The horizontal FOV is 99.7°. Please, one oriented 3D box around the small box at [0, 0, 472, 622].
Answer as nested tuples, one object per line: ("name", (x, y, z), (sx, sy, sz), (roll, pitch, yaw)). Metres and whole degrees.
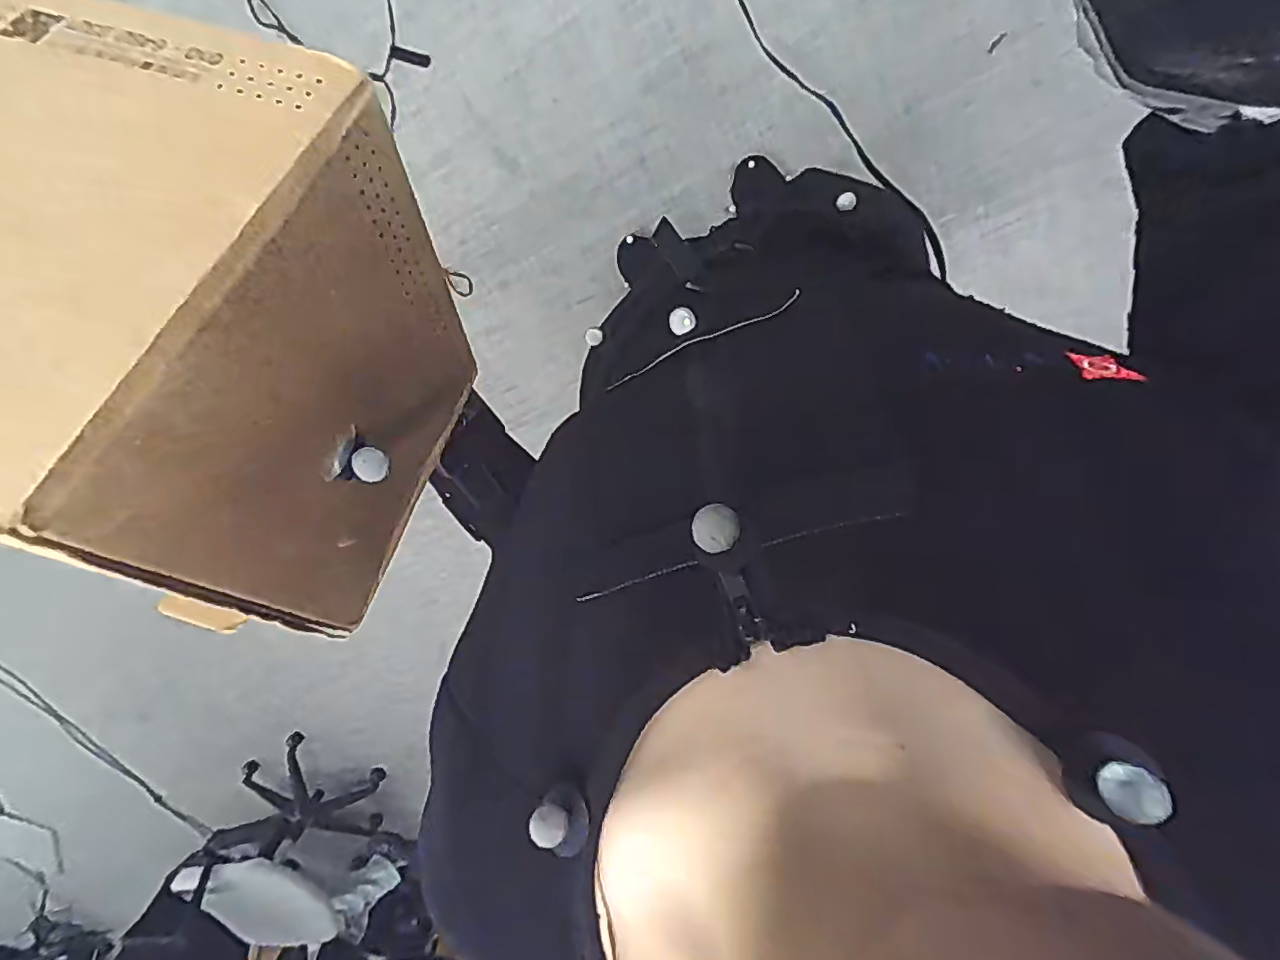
("small box", (-0.193, -0.054, 0.233), (0.168, 0.176, 0.179), (15, 158, 3))
